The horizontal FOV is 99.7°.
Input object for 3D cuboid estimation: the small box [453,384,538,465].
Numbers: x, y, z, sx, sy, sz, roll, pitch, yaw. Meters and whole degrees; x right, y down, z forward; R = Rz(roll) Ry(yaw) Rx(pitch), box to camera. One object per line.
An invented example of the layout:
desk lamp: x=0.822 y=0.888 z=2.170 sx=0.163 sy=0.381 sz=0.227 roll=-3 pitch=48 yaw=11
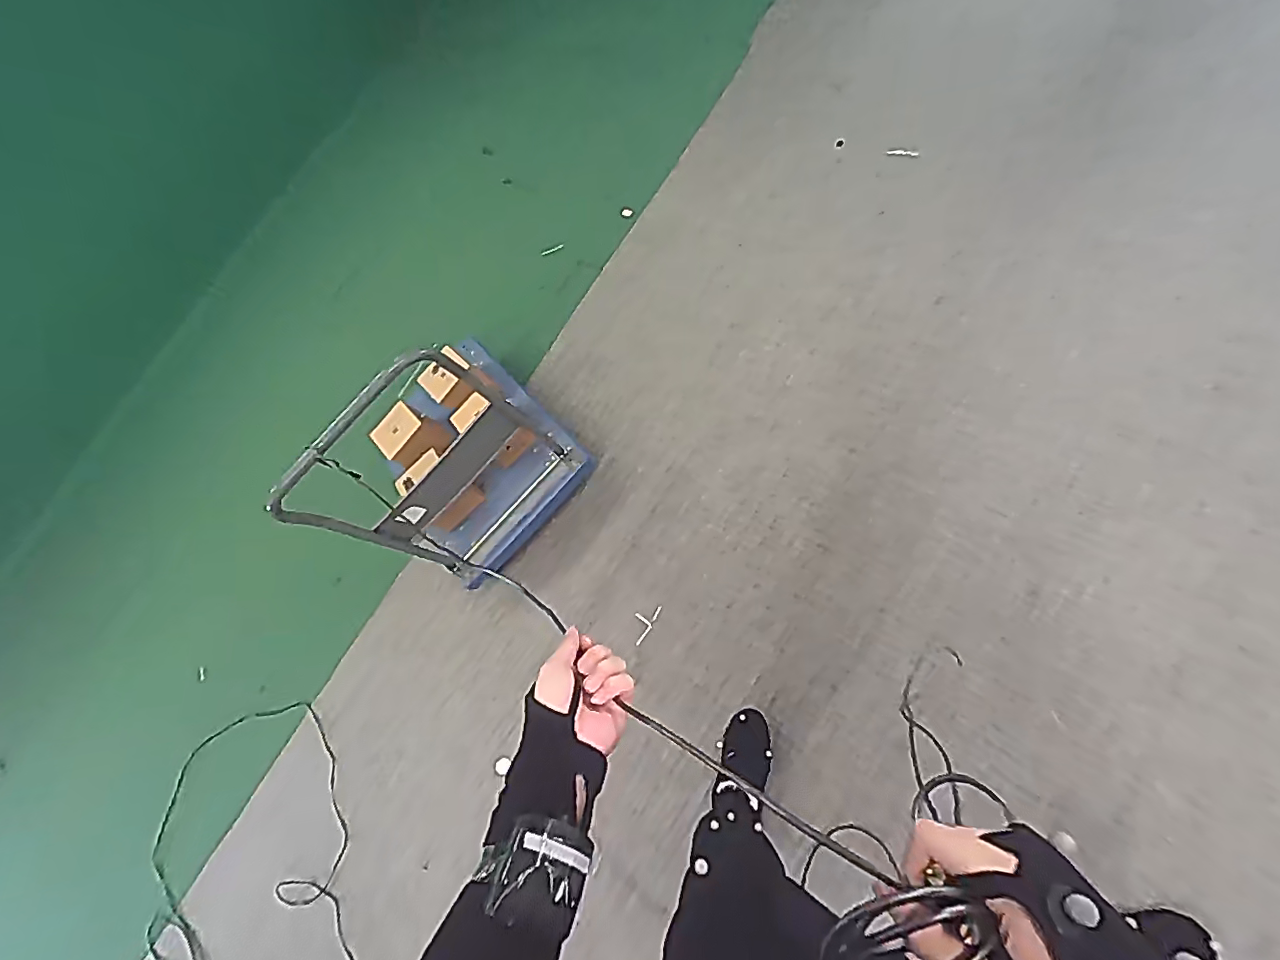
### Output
small box: x=-0.470 y=-0.176 z=1.770 sx=0.168 sy=0.176 sz=0.179 roll=-46 pitch=58 yaw=2

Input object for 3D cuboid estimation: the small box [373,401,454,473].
small box: x=-0.795 y=-0.144 z=1.914 sx=0.168 sy=0.176 sz=0.179 roll=-49 pitch=57 yaw=-1

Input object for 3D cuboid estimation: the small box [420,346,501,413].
small box: x=-0.633 y=-0.336 z=1.915 sx=0.179 sy=0.176 sz=0.168 roll=40 pitch=91 yaw=32
